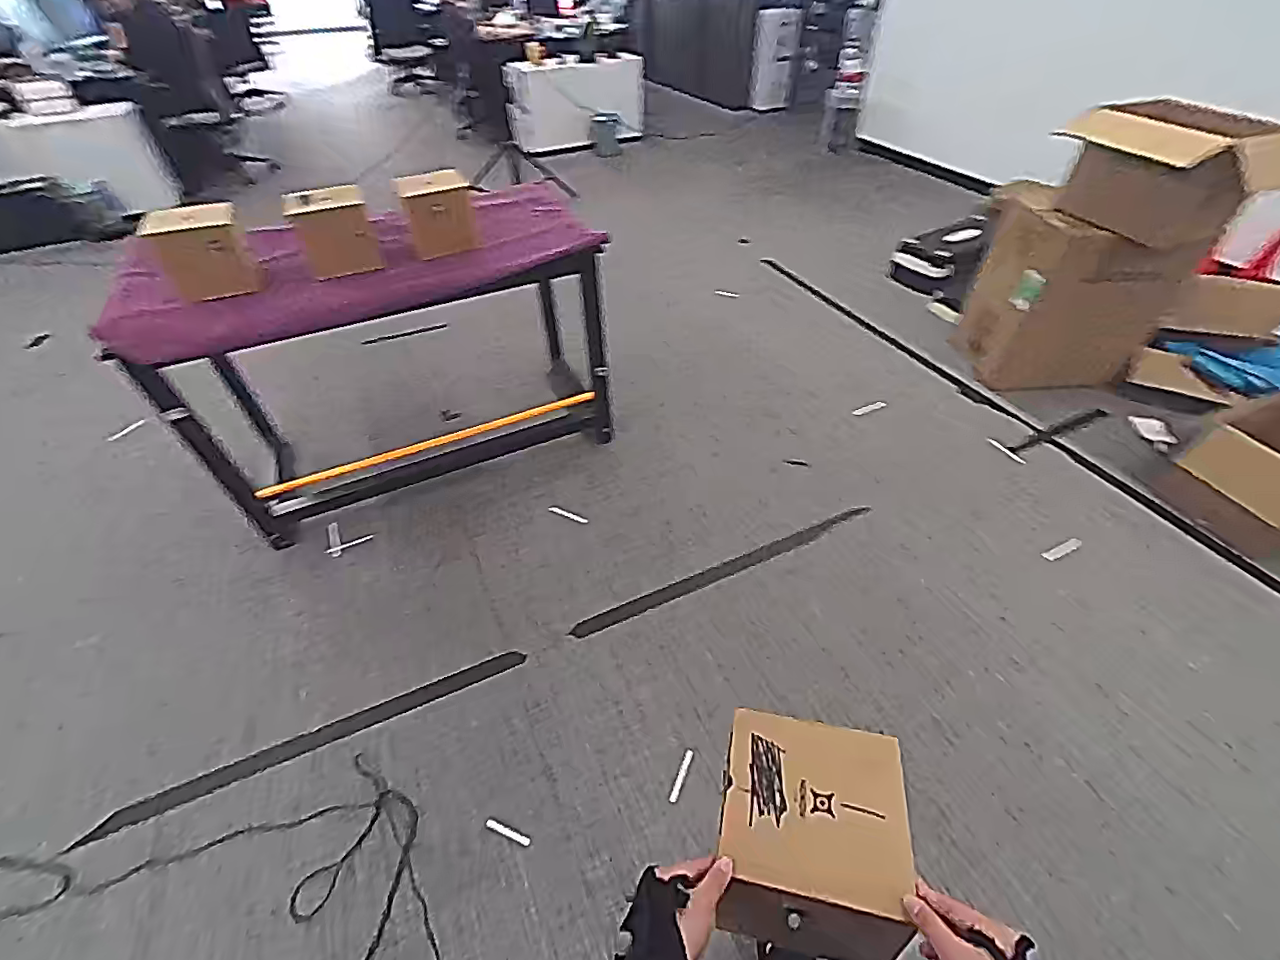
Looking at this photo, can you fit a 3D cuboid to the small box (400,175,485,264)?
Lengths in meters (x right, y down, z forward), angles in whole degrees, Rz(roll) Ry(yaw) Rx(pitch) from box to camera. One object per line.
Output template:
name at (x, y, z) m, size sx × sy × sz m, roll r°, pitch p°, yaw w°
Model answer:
small box at (-0.550, -0.736, 1.527) m, size 0.179 × 0.176 × 0.168 m, roll -22°, pitch 49°, yaw -18°

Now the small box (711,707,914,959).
small box at (0.174, 0.378, 0.584) m, size 0.179 × 0.176 × 0.168 m, roll 5°, pitch 38°, yaw 13°

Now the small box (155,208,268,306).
small box at (-1.067, -0.563, 1.364) m, size 0.179 × 0.176 × 0.168 m, roll -20°, pitch 48°, yaw -20°
